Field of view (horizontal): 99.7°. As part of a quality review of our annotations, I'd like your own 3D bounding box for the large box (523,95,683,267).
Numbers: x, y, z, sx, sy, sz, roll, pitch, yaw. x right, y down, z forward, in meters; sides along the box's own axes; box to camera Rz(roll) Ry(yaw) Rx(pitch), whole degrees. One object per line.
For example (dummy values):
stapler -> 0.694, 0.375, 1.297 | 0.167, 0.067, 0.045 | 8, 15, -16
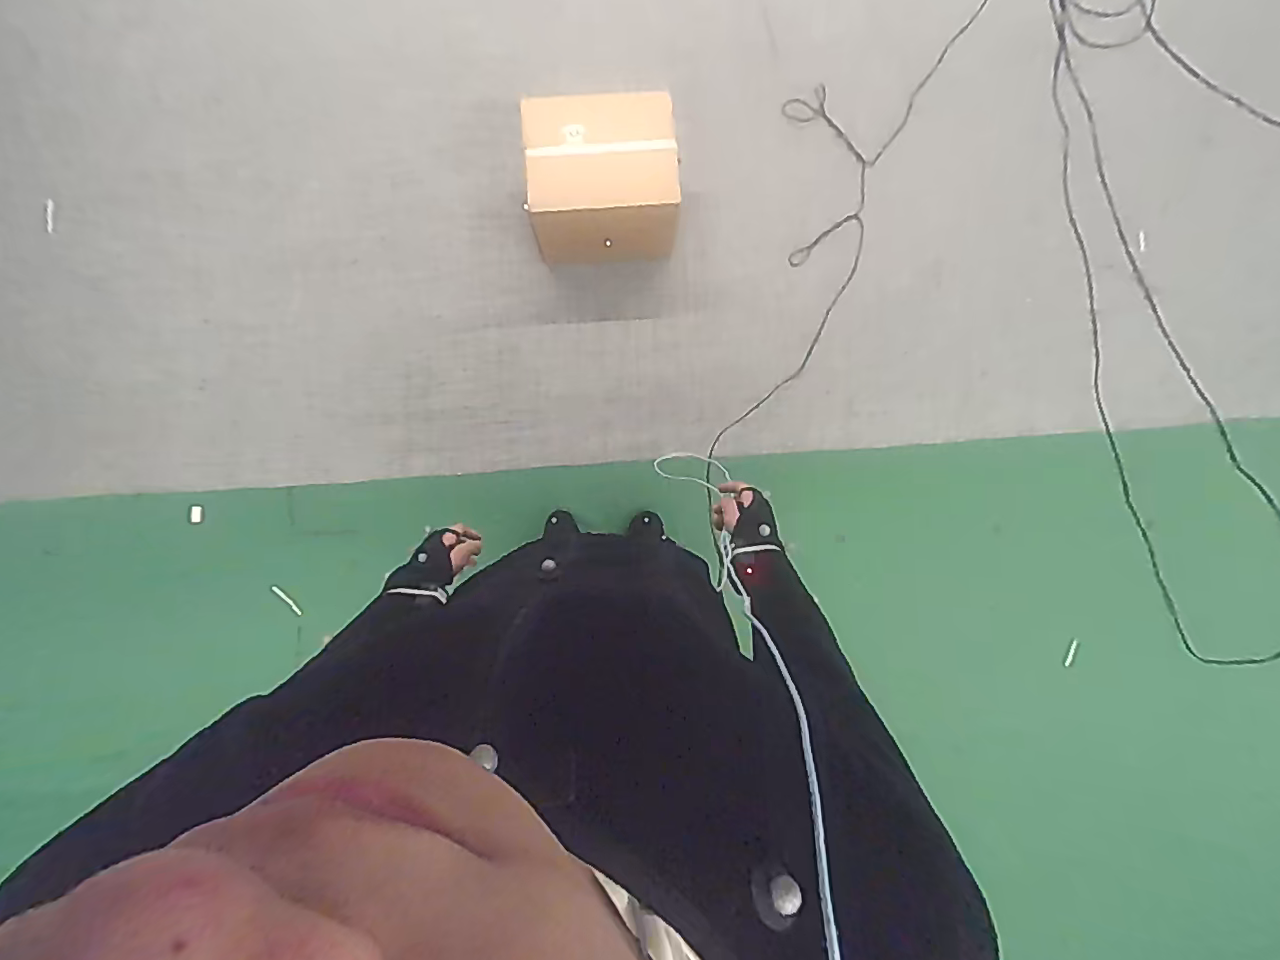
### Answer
large box -> -0.099, -0.852, 1.583 | 0.408, 0.320, 0.320 | -5, 86, -1
